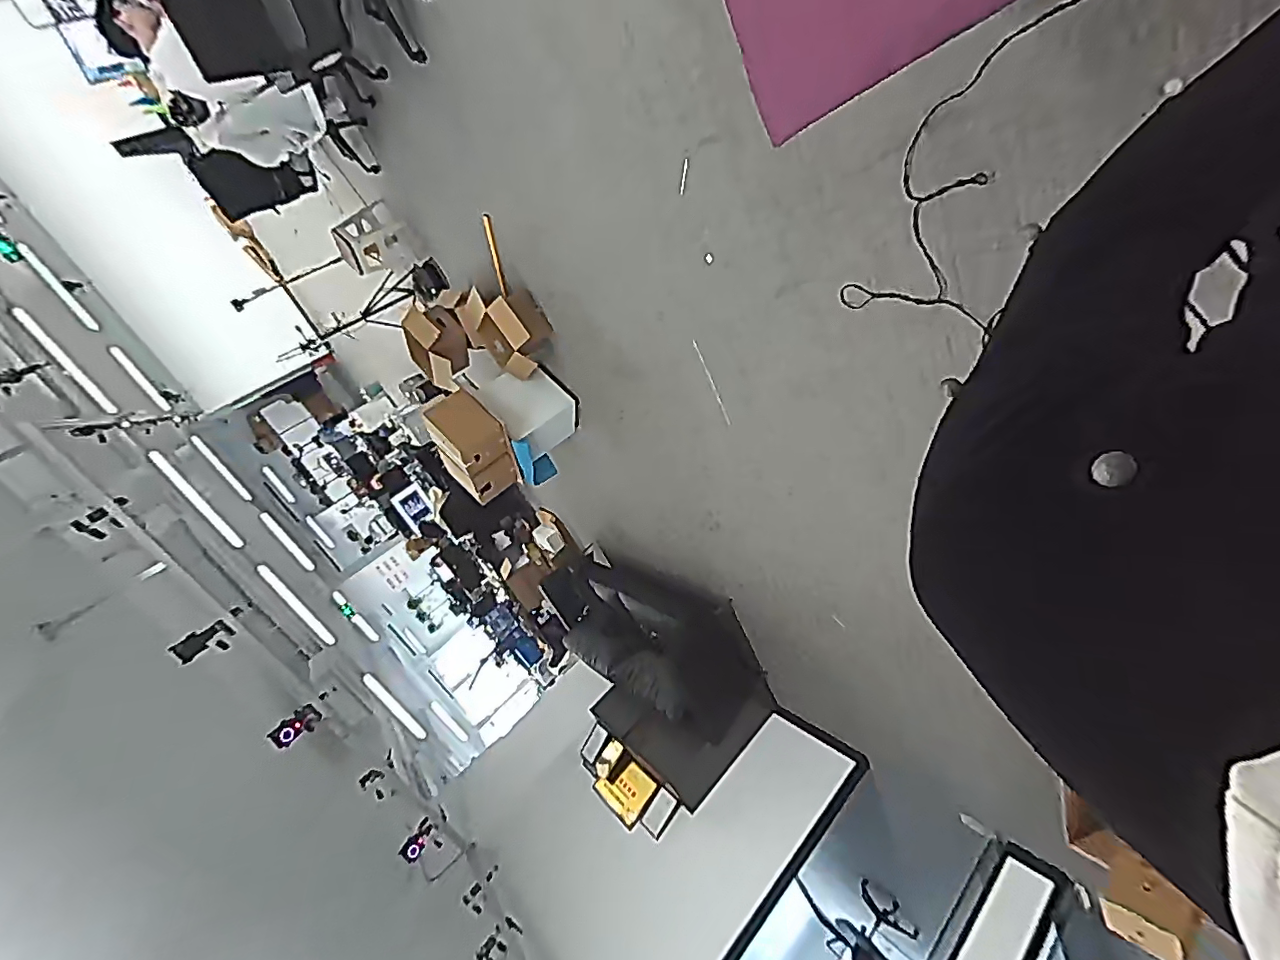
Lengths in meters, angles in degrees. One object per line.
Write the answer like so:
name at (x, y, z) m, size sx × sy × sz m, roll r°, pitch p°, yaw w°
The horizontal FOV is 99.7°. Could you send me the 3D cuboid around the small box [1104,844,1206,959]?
small box at (1.416, 1.158, 1.487) m, size 0.168 × 0.176 × 0.179 m, roll 9°, pitch 132°, yaw 58°
